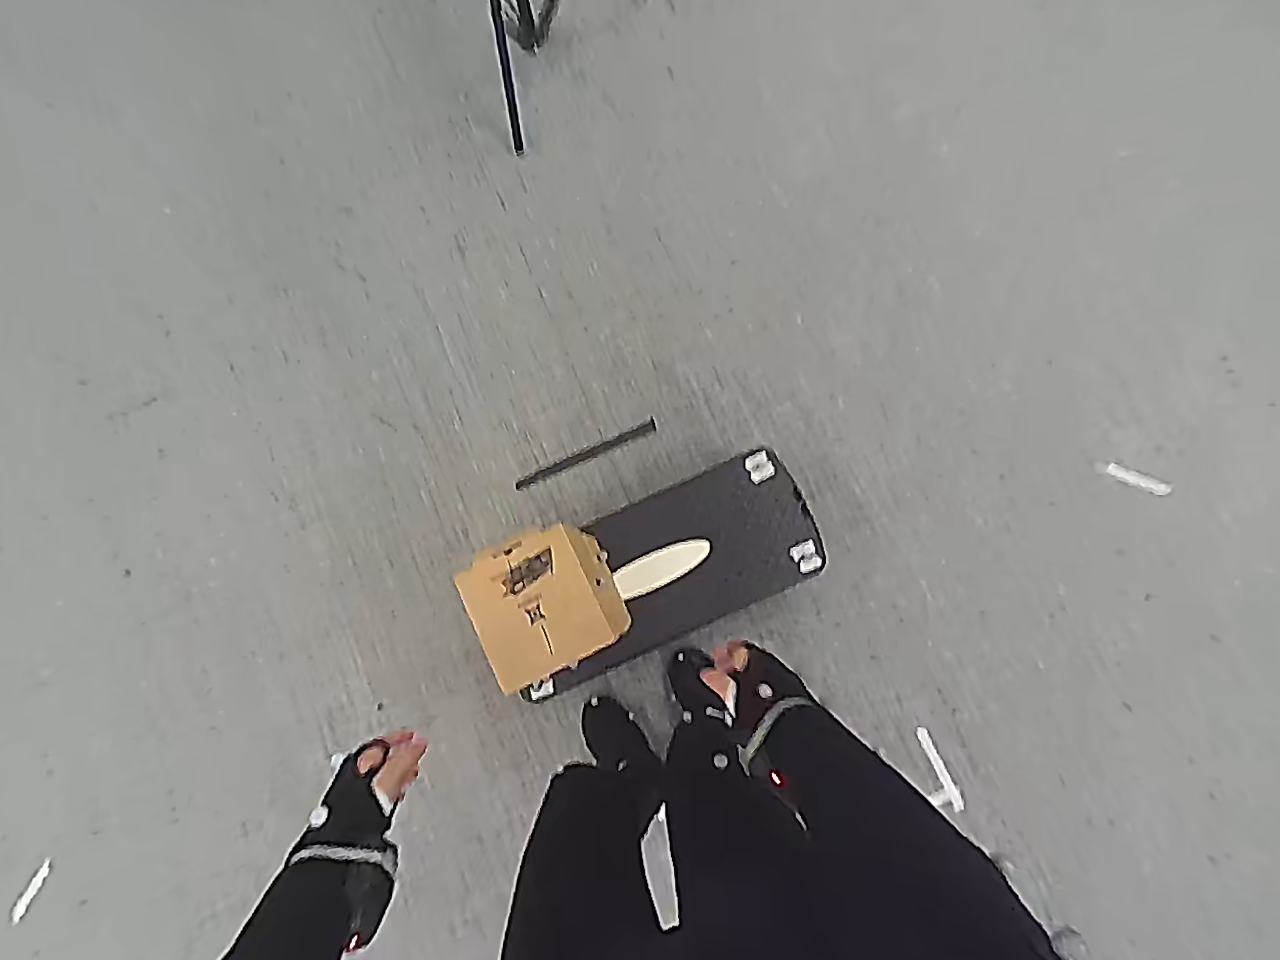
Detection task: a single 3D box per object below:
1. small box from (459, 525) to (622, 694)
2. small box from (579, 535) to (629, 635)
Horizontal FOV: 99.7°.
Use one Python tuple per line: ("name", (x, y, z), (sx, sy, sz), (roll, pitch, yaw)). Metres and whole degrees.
("small box", (-0.137, 0.185, 0.802), (0.168, 0.176, 0.179), (-26, 81, -2))
("small box", (-0.128, 0.215, 0.963), (0.168, 0.176, 0.179), (-25, 81, -2))
